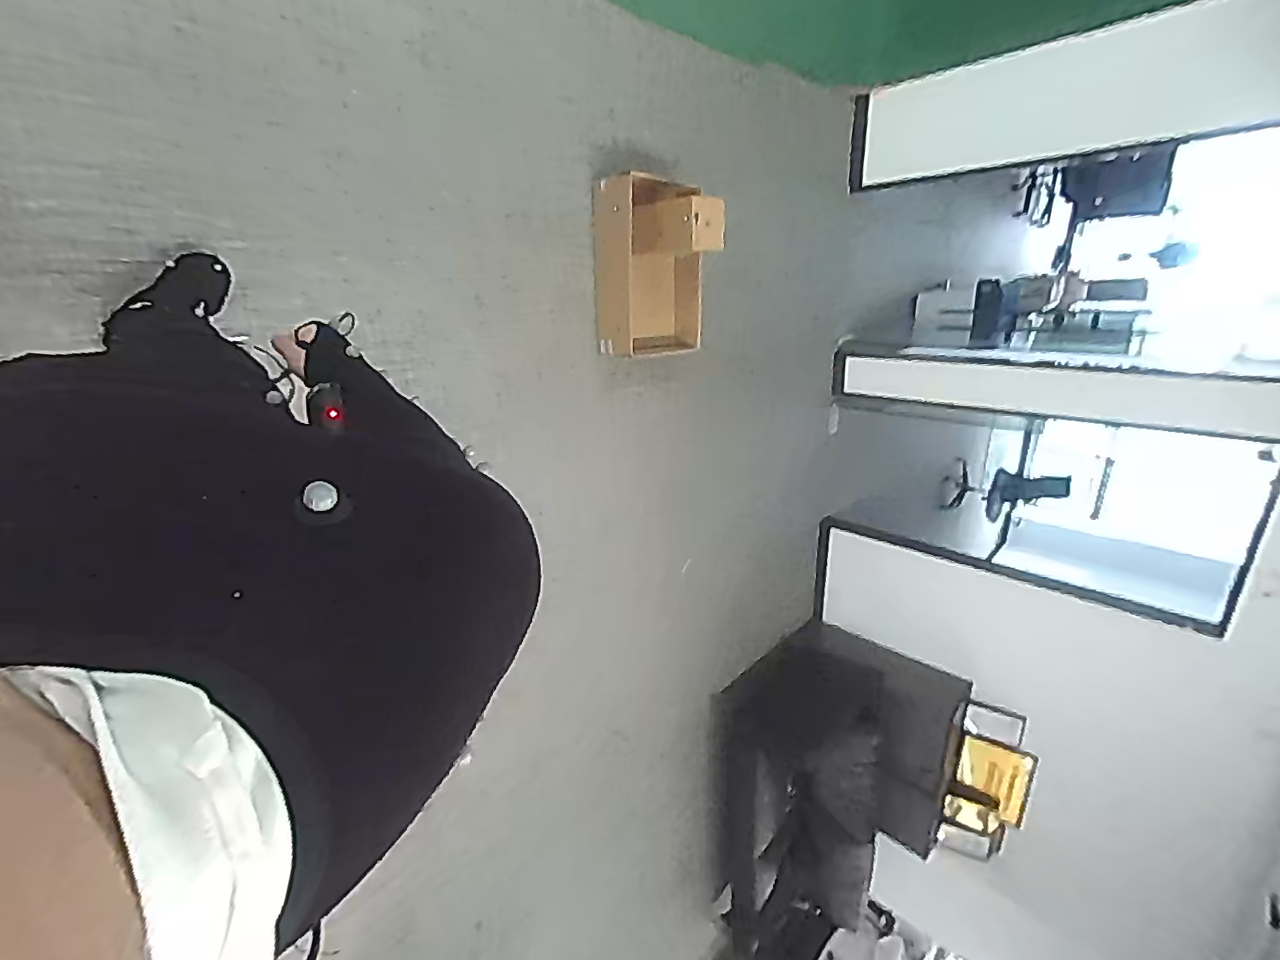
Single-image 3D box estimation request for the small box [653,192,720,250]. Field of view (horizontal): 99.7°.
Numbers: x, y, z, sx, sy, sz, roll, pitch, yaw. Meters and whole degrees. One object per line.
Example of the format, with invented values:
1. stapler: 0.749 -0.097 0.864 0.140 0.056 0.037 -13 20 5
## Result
1. small box: 0.163 -0.904 1.896 0.179 0.176 0.168 -22 118 -41
